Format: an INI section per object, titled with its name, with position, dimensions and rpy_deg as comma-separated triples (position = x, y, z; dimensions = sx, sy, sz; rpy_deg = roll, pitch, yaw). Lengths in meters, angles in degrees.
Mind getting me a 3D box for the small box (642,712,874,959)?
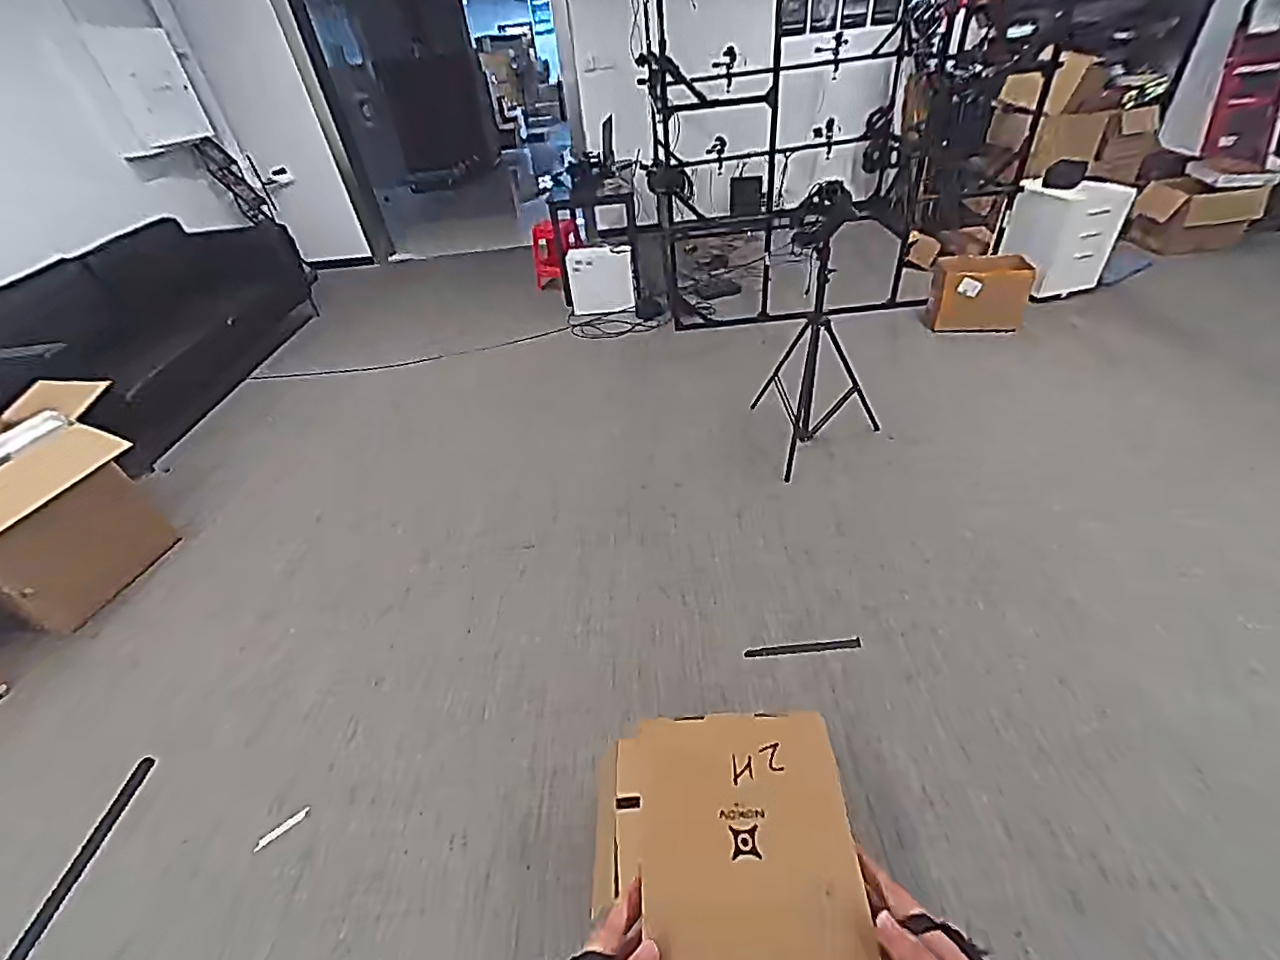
[small box]
position = 0.088, 0.331, 0.493
dimensions = 0.168, 0.176, 0.179
rpy_deg = -2, 47, 2
